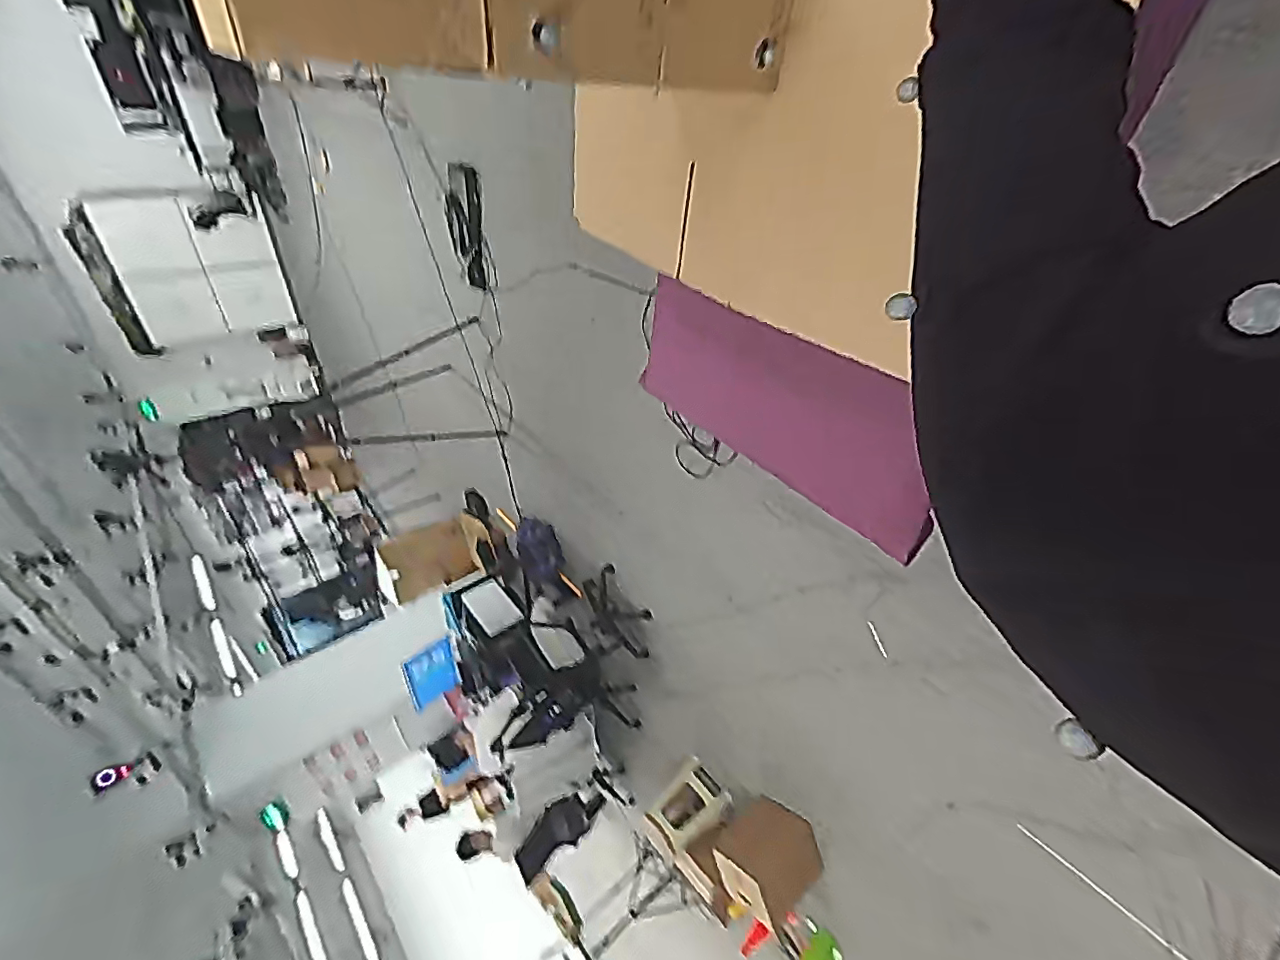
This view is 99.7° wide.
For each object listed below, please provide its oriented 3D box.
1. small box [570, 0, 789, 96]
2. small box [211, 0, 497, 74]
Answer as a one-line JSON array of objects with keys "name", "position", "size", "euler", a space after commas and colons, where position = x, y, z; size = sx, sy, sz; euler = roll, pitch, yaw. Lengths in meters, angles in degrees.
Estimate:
[{"name": "small box", "position": [0.044, -0.507, 0.557], "size": [0.179, 0.176, 0.168], "euler": [42, 140, 36]}, {"name": "small box", "position": [-0.219, -0.404, 0.389], "size": [0.179, 0.176, 0.168], "euler": [40, 139, 37]}]
